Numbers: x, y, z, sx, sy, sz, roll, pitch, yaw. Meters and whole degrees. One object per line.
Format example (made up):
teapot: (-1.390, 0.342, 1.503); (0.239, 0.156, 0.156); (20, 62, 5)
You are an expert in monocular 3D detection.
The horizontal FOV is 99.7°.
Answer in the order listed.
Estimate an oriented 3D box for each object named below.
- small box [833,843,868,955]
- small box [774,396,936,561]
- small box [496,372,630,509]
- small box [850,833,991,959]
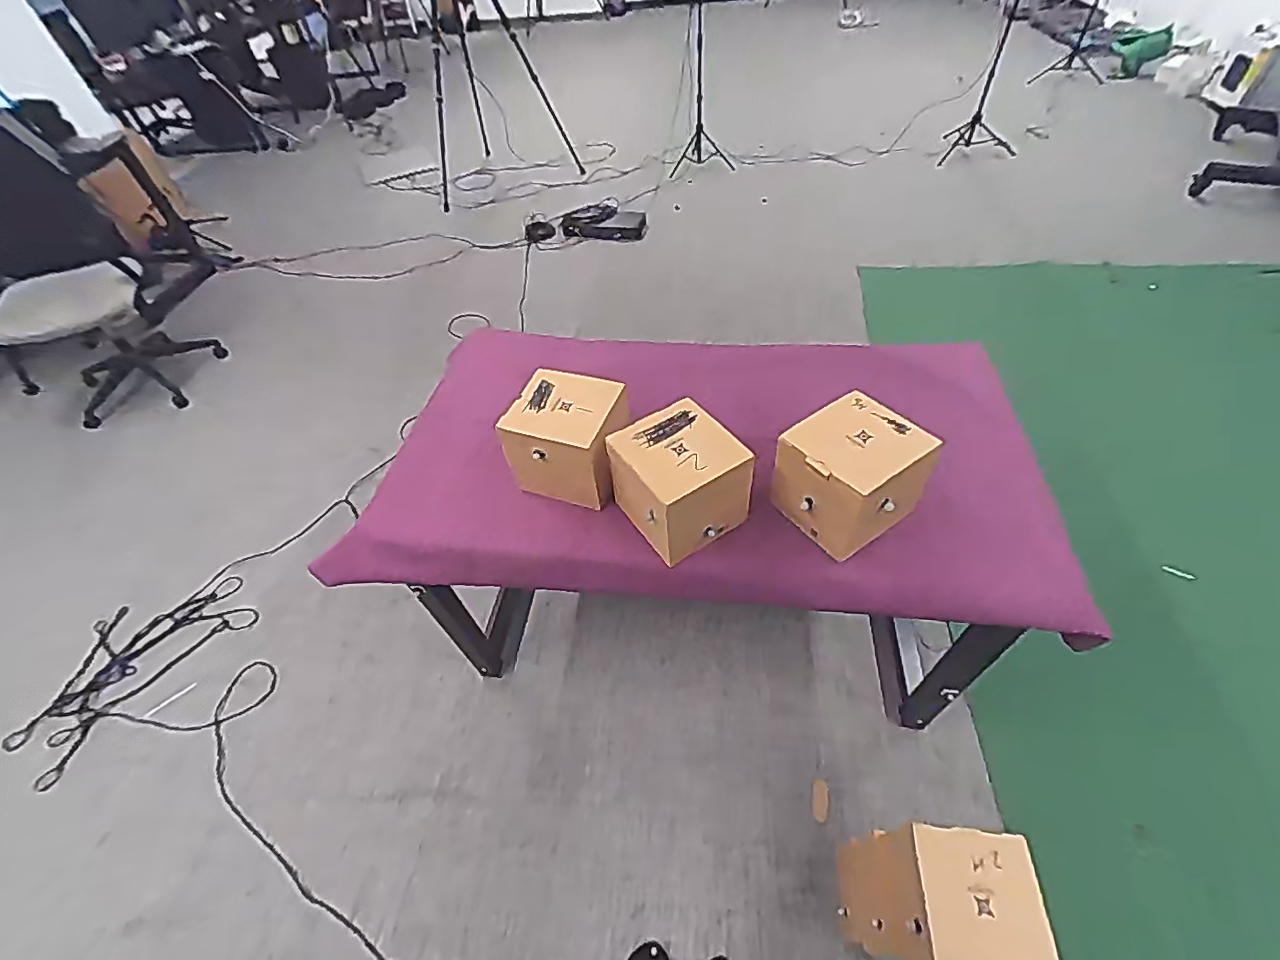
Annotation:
small box: (0.494, 0.858, 1.093); (0.179, 0.176, 0.168); (4, 50, 8)
small box: (0.335, 0.000, 0.882); (0.179, 0.176, 0.168); (-30, 52, -19)
small box: (-0.129, -0.069, 0.988); (0.179, 0.176, 0.168); (14, 52, 16)
small box: (0.488, 0.755, 0.968); (0.168, 0.176, 0.179); (2, 51, 7)
